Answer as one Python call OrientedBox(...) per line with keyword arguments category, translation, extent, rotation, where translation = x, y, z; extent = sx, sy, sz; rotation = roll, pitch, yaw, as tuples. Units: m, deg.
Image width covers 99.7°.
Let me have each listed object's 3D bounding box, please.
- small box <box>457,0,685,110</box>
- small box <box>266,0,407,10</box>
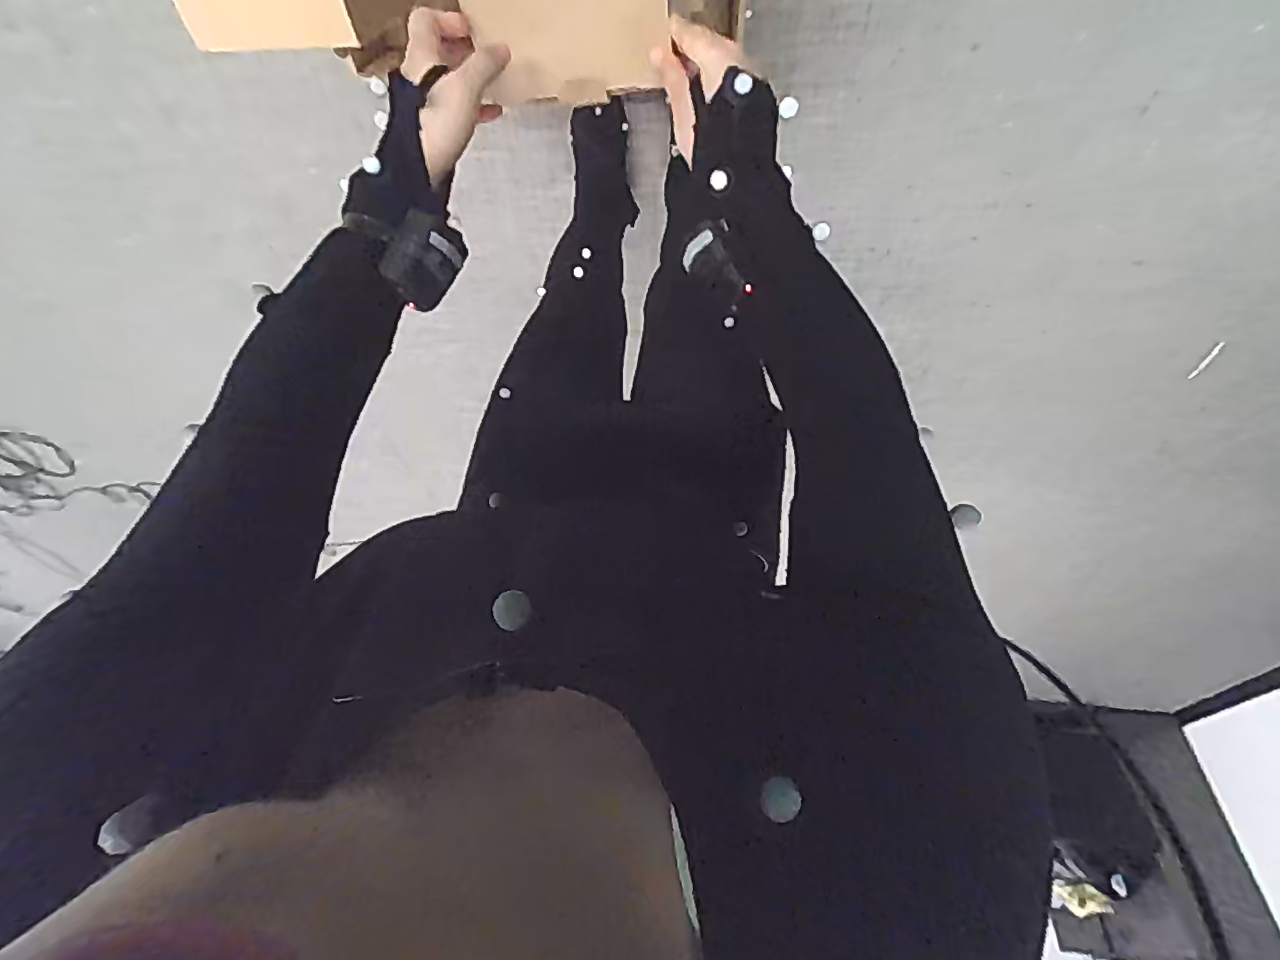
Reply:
OrientedBox(category="small box", translation=(-0.055, -0.448, 0.445), extent=(0.168, 0.176, 0.179), rotation=(1, 149, 11))
OrientedBox(category="small box", translation=(-0.350, -0.667, 0.619), extent=(0.179, 0.176, 0.168), rotation=(2, 144, 5))
